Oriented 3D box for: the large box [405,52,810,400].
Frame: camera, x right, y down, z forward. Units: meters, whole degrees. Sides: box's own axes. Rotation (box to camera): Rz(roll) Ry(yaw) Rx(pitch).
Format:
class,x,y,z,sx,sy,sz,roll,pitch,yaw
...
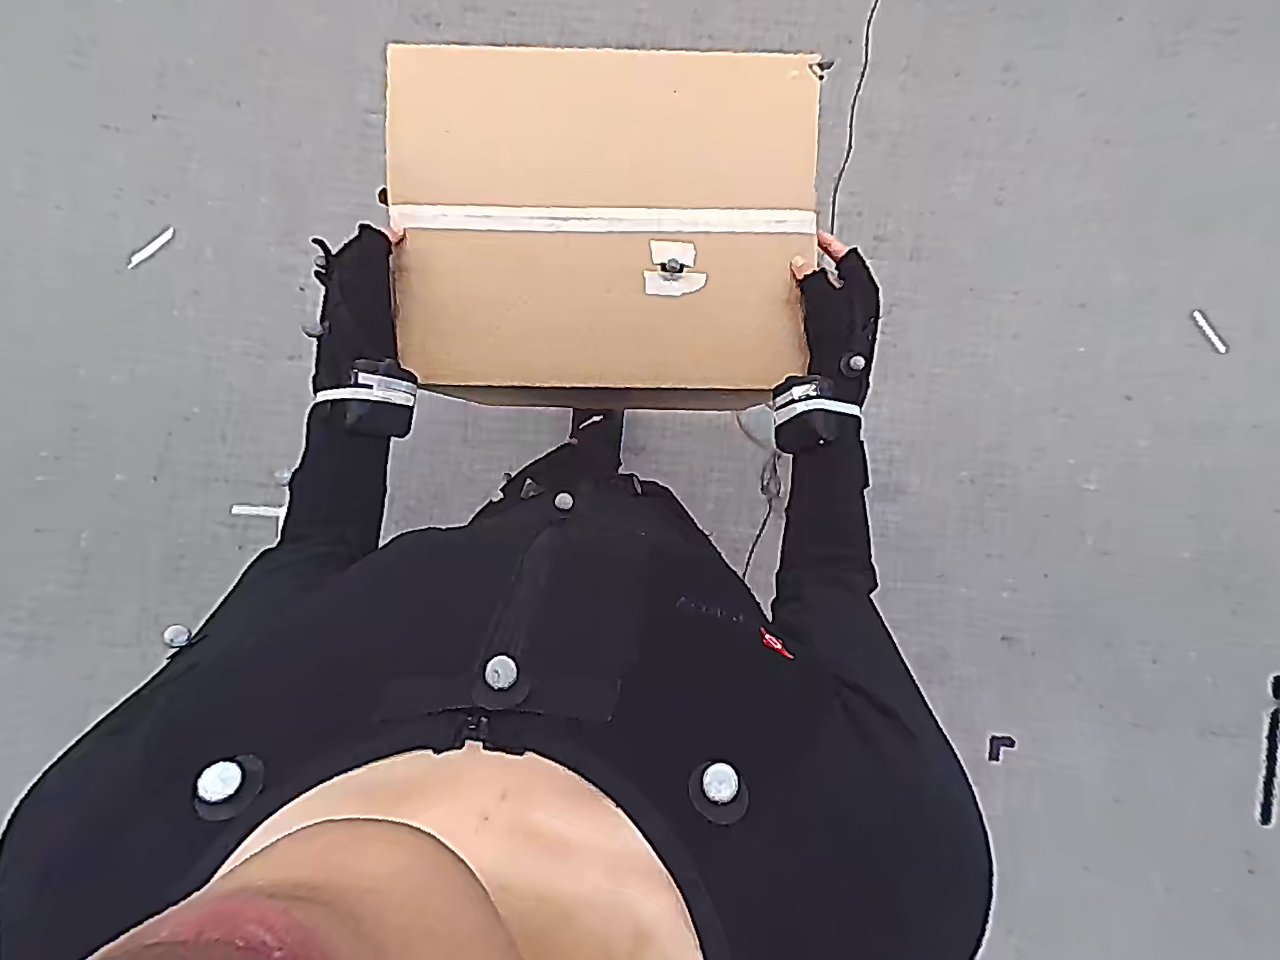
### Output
class,x,y,z,sx,sy,sz,roll,pitch,yaw
large box,-0.035,-0.272,0.684,0.408,0.320,0.320,0,94,-1
